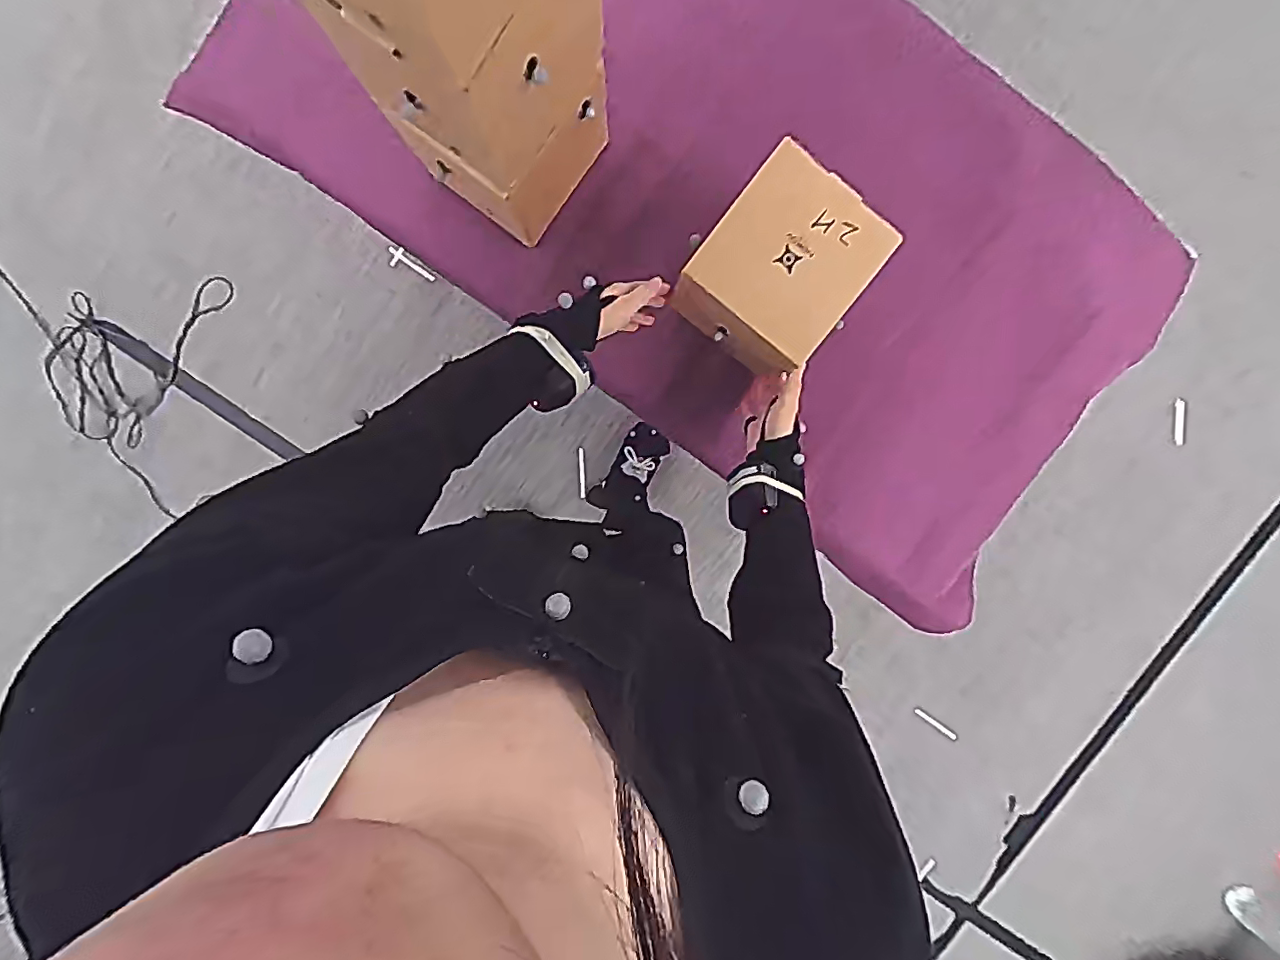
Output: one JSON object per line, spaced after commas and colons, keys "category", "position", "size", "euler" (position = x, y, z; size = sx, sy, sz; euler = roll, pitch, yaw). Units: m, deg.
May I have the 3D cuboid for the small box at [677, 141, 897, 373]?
{"category": "small box", "position": [0.159, -0.248, 0.657], "size": [0.168, 0.176, 0.179], "euler": [38, 93, -6]}

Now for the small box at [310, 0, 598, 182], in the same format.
{"category": "small box", "position": [-0.145, -0.403, 0.466], "size": [0.168, 0.176, 0.179], "euler": [34, 94, -6]}

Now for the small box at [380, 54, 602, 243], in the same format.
{"category": "small box", "position": [-0.154, -0.414, 0.629], "size": [0.168, 0.176, 0.179], "euler": [36, 93, -5]}
